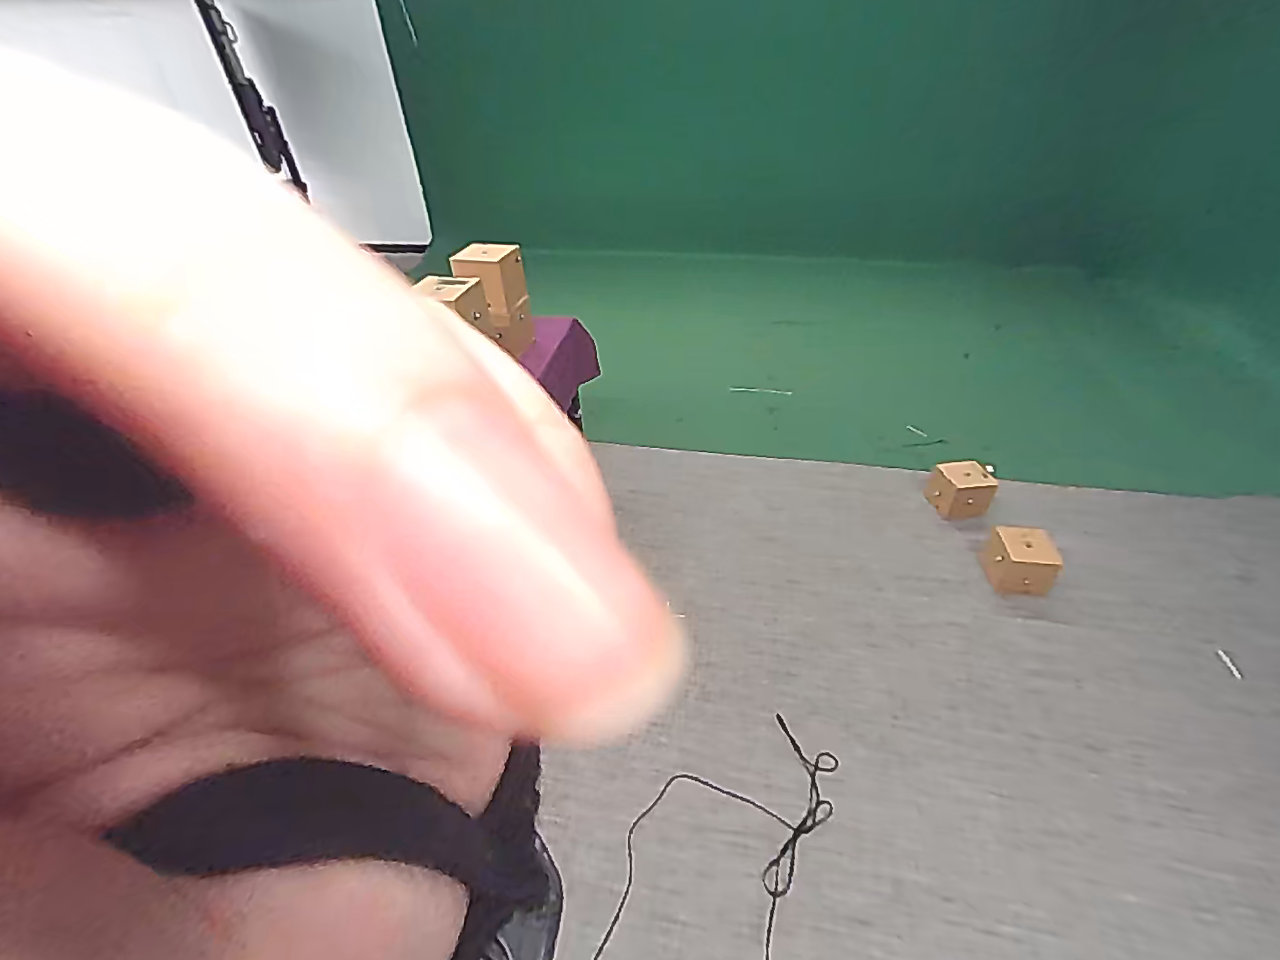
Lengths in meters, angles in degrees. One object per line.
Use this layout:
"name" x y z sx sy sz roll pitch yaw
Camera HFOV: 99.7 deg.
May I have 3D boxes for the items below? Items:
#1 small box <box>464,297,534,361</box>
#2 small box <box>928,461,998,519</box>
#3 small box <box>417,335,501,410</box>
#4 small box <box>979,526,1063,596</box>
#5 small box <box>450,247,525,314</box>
"small box" -0.479 -0.527 1.875 0.168 0.176 0.179 8 39 12
"small box" 1.315 0.044 2.223 0.179 0.176 0.168 -6 38 -4
"small box" -0.528 -0.320 1.613 0.168 0.176 0.179 4 38 8
"small box" 1.337 0.288 1.908 0.168 0.176 0.179 5 39 8
"small box" -0.490 -0.655 1.775 0.168 0.176 0.179 7 39 11
